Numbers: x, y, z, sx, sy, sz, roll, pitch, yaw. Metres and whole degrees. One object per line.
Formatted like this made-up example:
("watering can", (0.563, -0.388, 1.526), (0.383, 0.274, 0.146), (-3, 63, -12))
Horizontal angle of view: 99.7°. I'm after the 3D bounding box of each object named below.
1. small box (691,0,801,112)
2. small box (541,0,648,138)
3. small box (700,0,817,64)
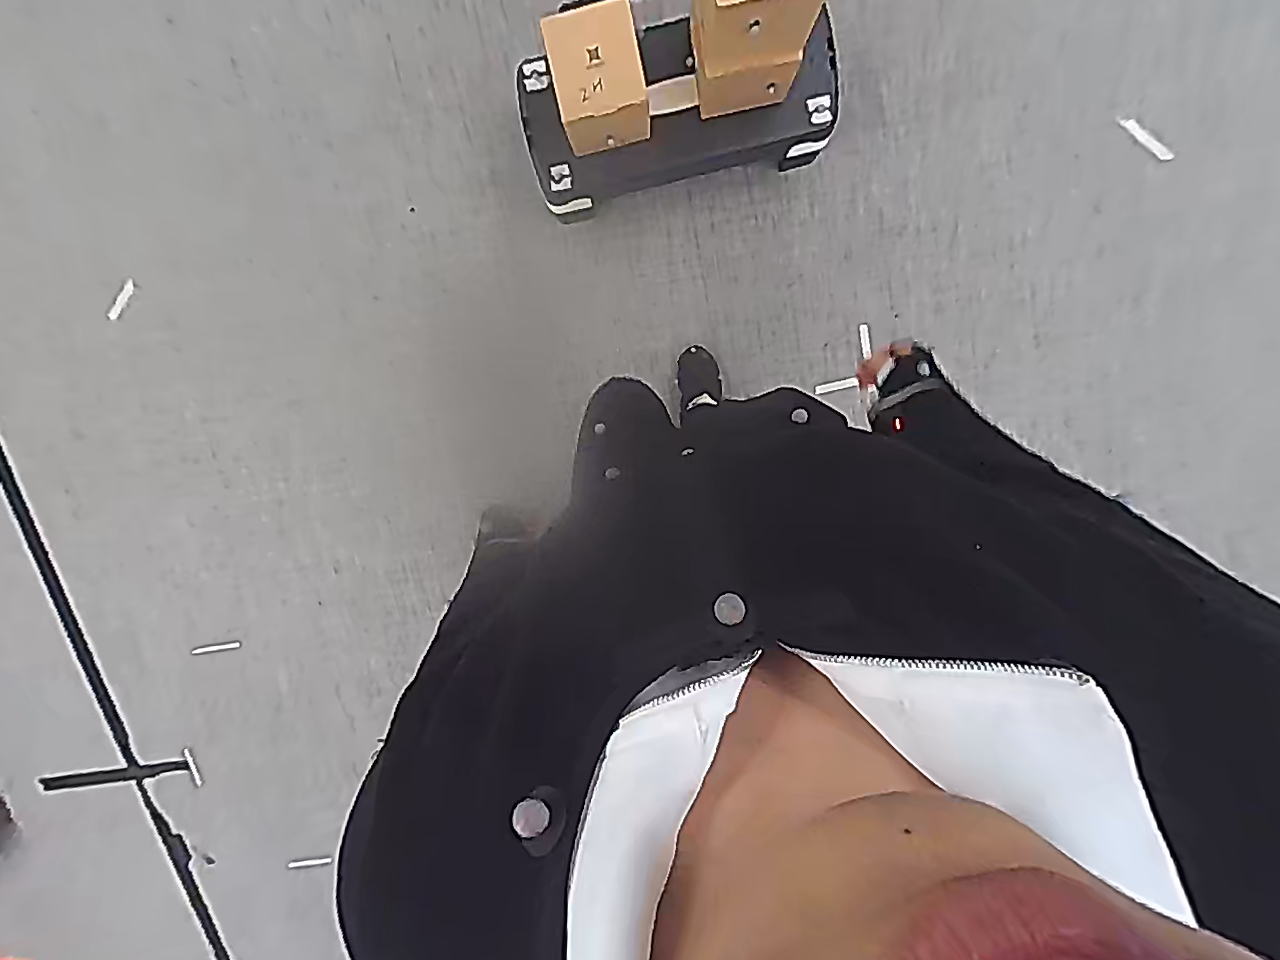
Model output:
("small box", (0.193, -0.828, 1.032), (0.179, 0.176, 0.168), (-9, 101, 4))
("small box", (-0.082, -0.769, 1.051), (0.168, 0.176, 0.179), (-12, 102, 4))
("small box", (0.187, -0.811, 0.869), (0.179, 0.176, 0.168), (-8, 101, 4))
